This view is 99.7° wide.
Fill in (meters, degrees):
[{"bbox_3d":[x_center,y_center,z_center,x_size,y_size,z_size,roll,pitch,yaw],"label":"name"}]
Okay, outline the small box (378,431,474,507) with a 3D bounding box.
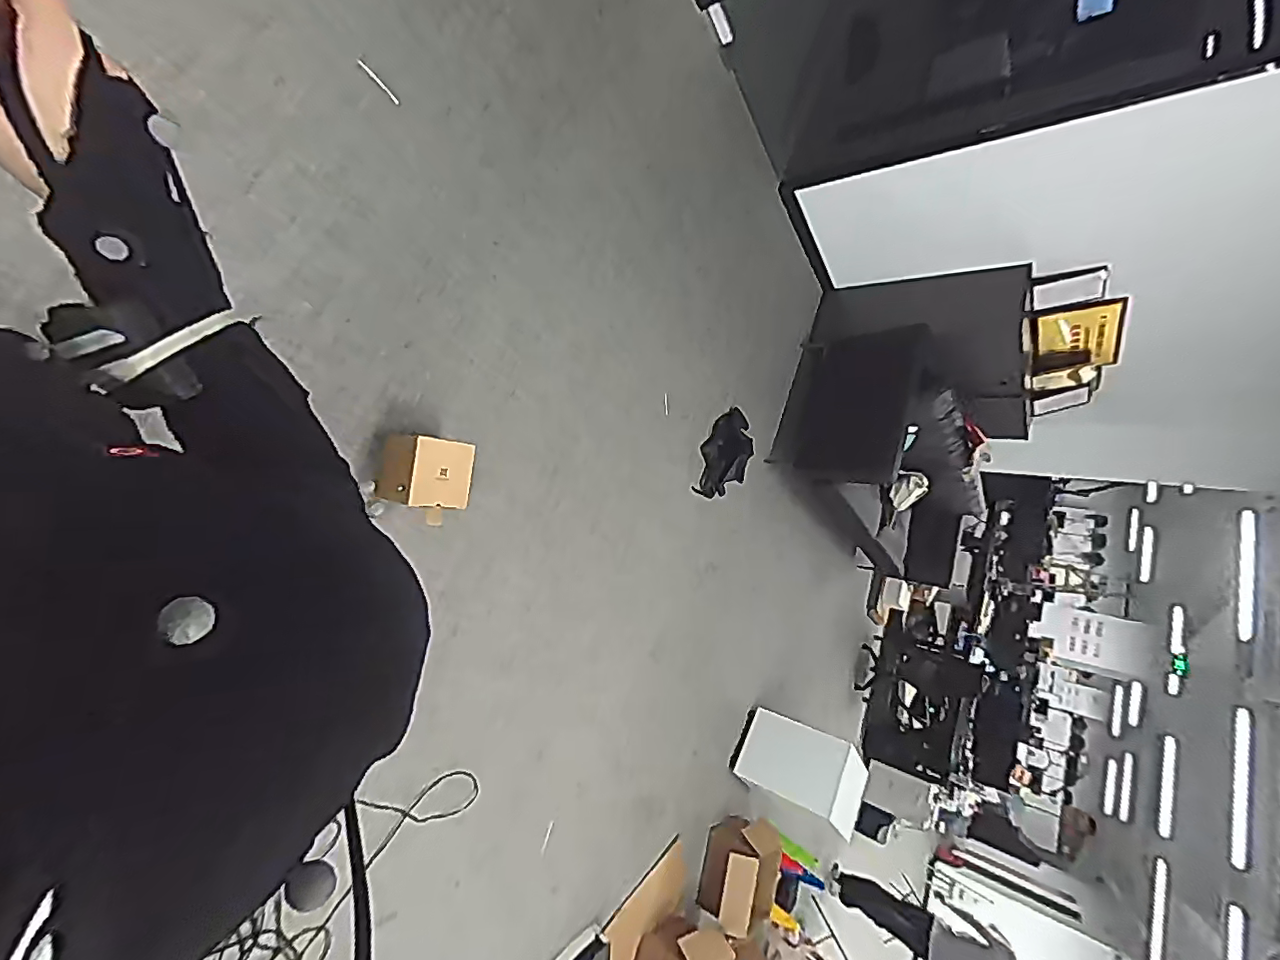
[{"bbox_3d":[-0.566,-0.030,1.423,0.168,0.176,0.179,8,90,-52],"label":"small box"}]
